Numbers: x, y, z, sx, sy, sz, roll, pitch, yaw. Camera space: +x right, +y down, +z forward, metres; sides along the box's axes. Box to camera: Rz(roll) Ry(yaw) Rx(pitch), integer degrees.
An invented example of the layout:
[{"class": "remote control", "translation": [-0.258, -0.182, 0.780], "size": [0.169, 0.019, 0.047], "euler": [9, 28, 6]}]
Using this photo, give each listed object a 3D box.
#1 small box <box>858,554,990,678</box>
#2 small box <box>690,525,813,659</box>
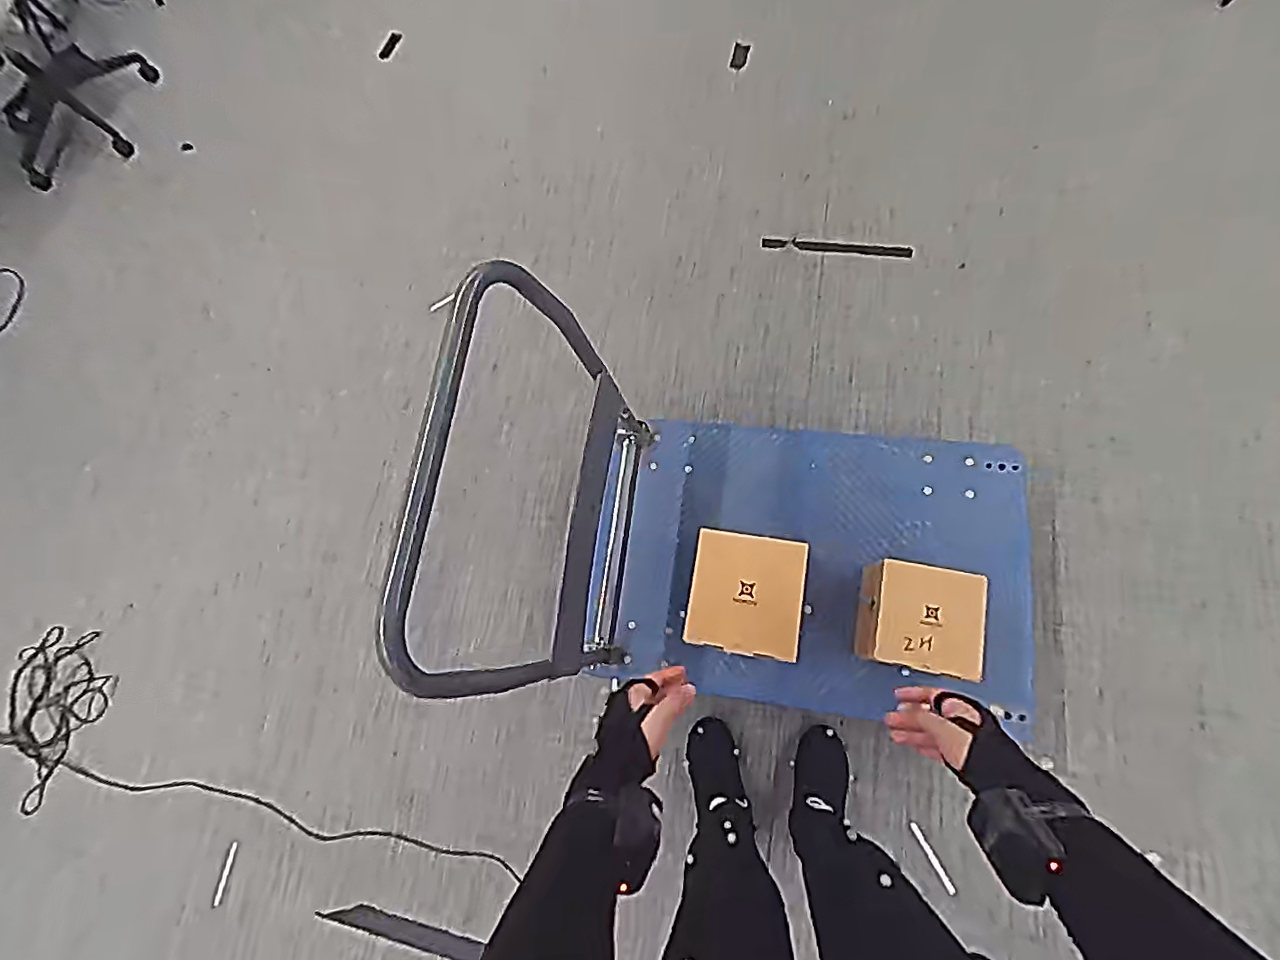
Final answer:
[{"class": "small box", "translation": [0.505, 0.246, 0.981], "size": [0.168, 0.176, 0.179], "euler": [9, 77, 13]}, {"class": "small box", "translation": [0.178, 0.182, 0.883], "size": [0.168, 0.176, 0.179], "euler": [7, 78, 11]}]
